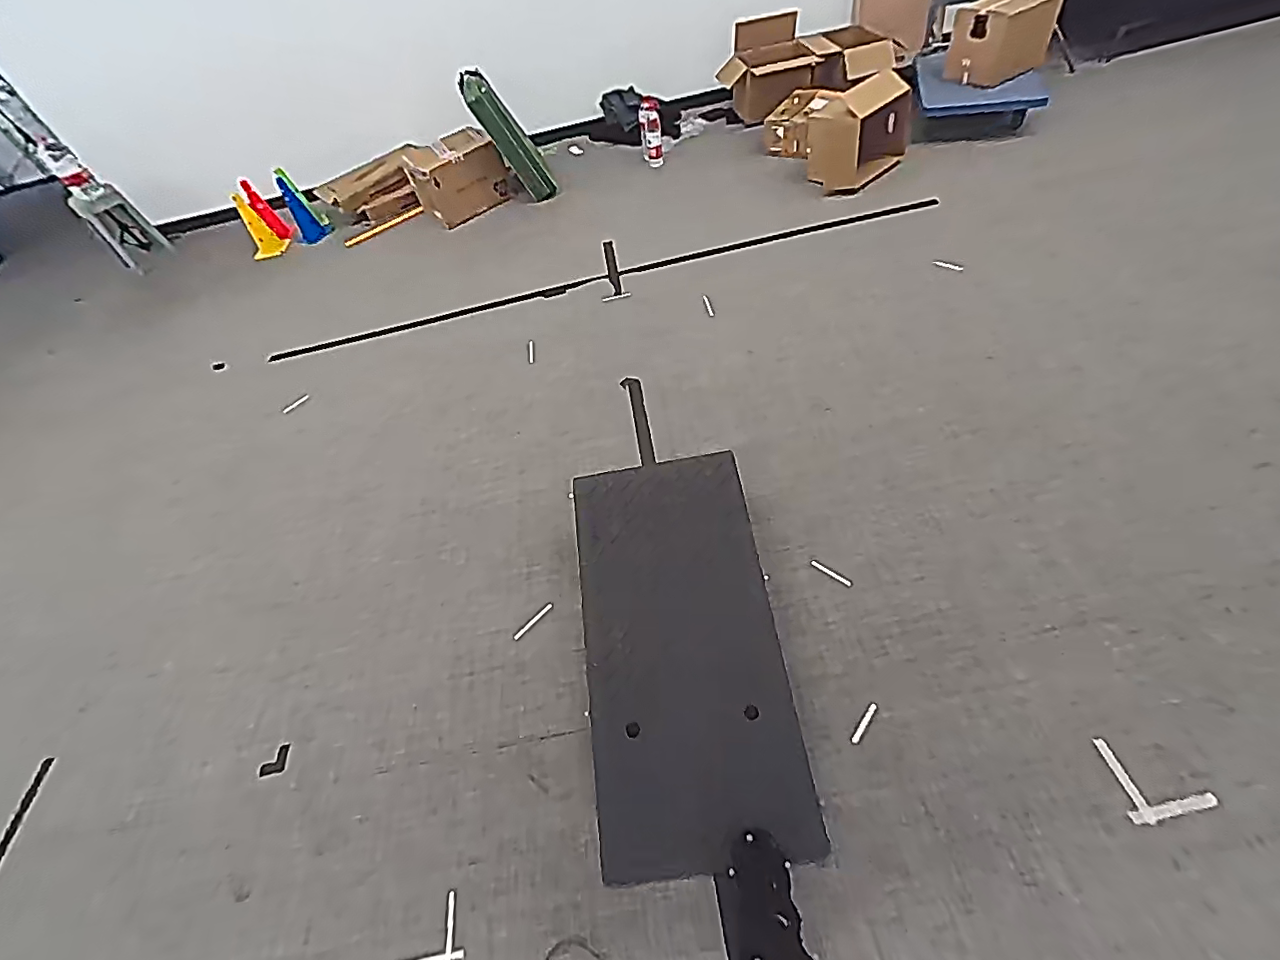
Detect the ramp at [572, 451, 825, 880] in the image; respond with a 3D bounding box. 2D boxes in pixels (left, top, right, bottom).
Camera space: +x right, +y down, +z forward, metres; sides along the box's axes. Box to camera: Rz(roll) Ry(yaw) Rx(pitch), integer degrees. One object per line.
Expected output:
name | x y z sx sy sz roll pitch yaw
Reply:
ramp | 0.097 0.390 1.389 0.509 0.206 0.991 -11 51 2
